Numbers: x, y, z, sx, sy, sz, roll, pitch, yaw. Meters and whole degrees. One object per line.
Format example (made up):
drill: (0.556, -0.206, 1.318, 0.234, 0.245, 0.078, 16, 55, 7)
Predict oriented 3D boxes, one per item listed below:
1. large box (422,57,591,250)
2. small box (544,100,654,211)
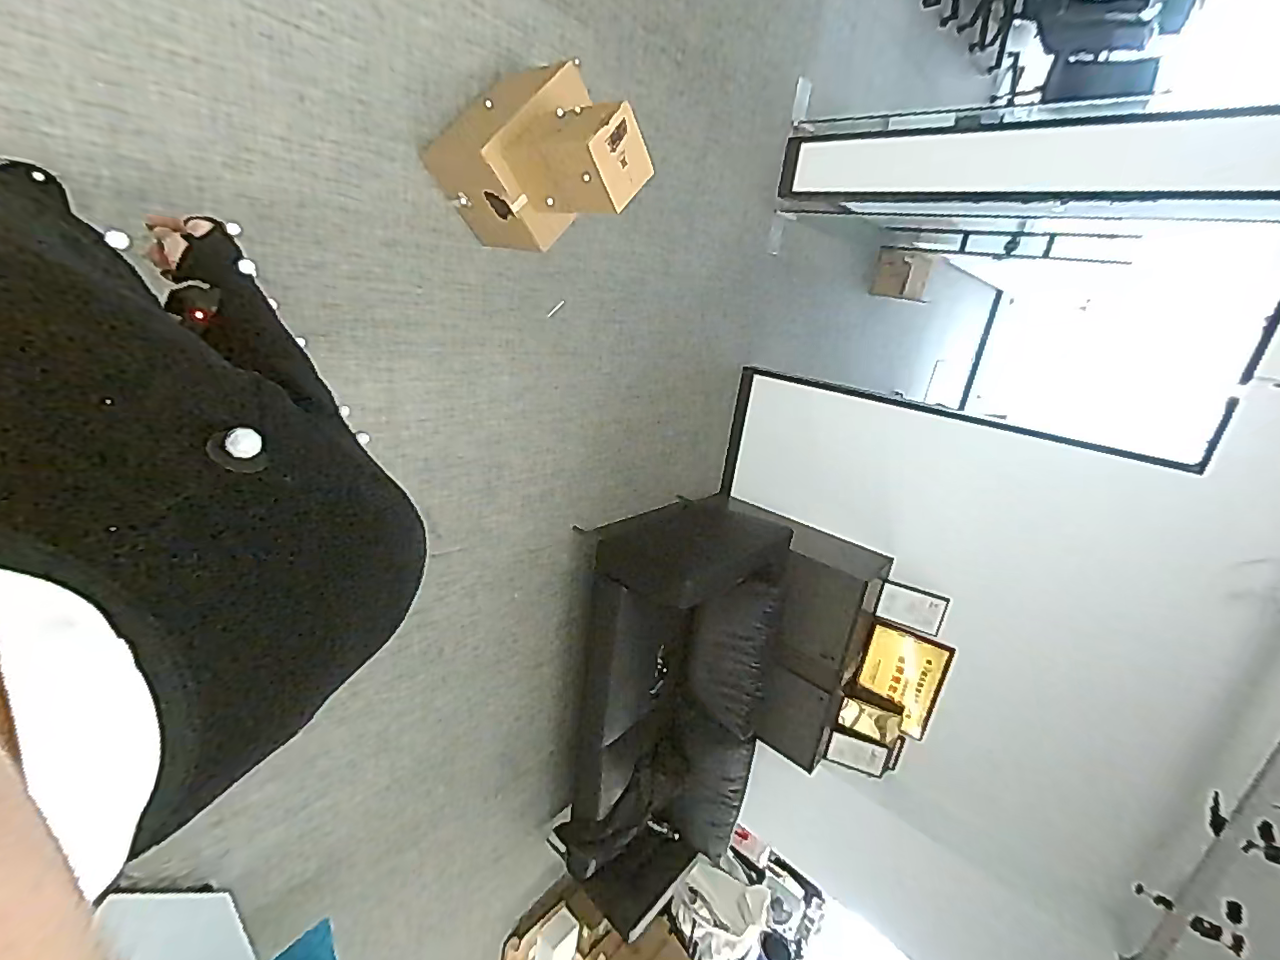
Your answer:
large box: (-0.353, -0.949, 1.609, 0.408, 0.320, 0.320, -57, 143, -16)
small box: (-0.101, -0.784, 1.320, 0.168, 0.176, 0.179, -55, 143, -16)
